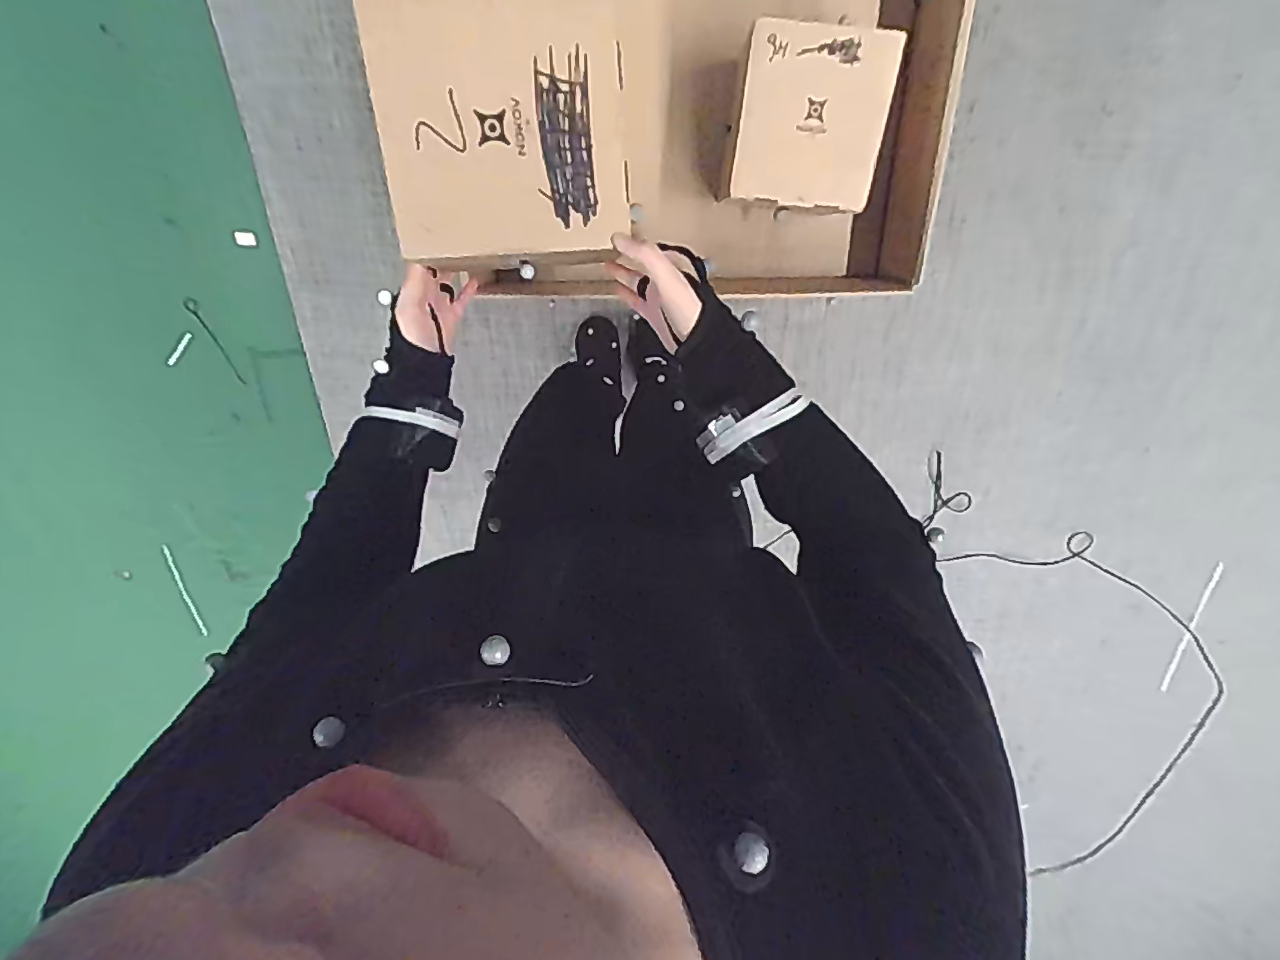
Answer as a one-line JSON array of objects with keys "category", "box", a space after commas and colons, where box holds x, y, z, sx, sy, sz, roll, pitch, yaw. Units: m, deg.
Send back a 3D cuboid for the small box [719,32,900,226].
[{"category": "small box", "box": [0.199, -0.434, 0.696, 0.168, 0.176, 0.179, 7, 116, -1]}]
